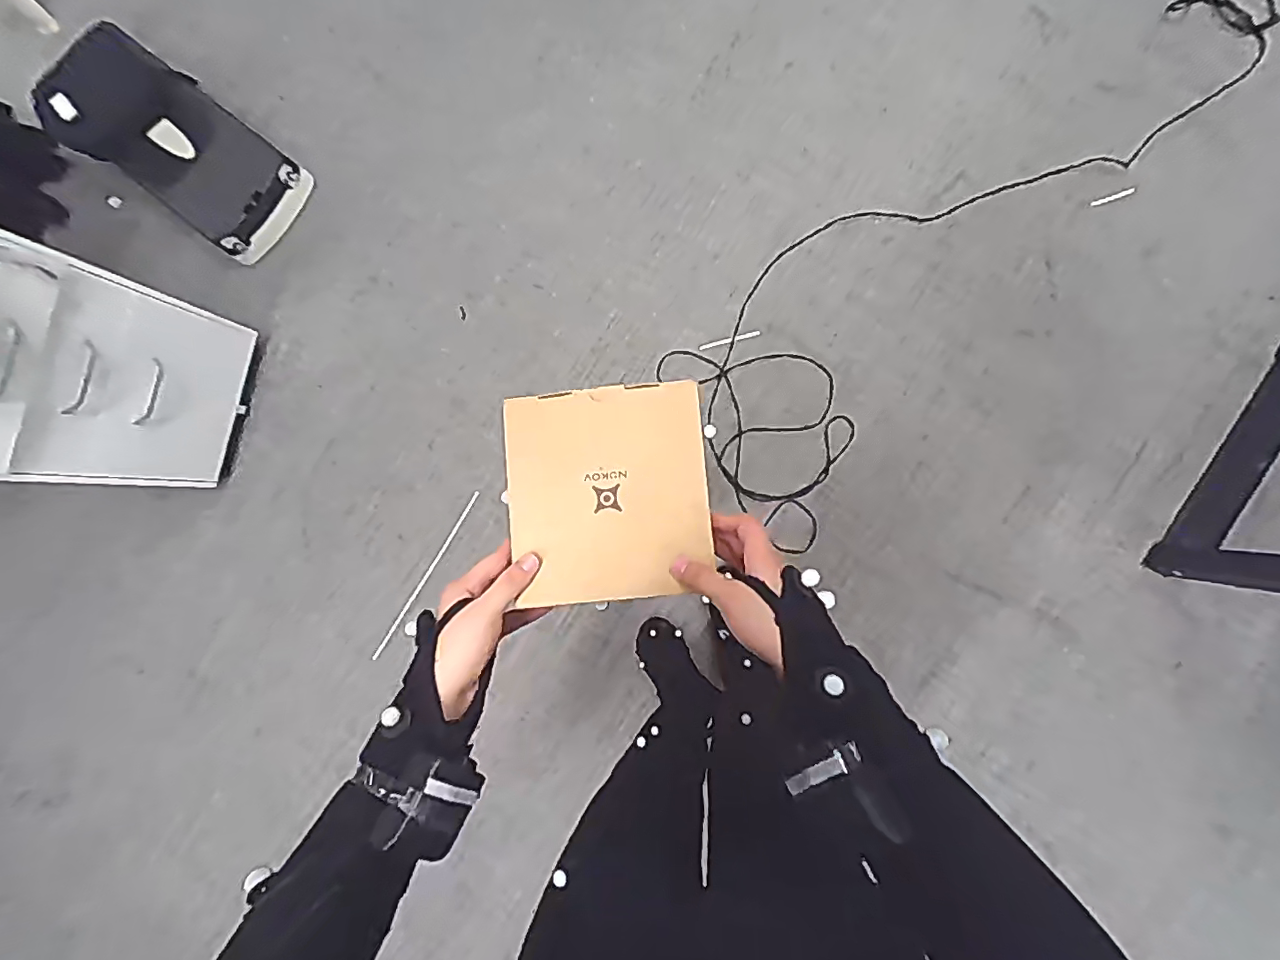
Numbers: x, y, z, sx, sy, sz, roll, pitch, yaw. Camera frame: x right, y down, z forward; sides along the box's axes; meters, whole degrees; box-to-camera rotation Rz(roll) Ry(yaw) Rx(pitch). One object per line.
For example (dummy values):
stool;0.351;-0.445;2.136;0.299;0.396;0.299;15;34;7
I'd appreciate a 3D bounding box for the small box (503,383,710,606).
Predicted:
small box;-0.024;0.020;0.531;0.168;0.176;0.179;-6;82;3
